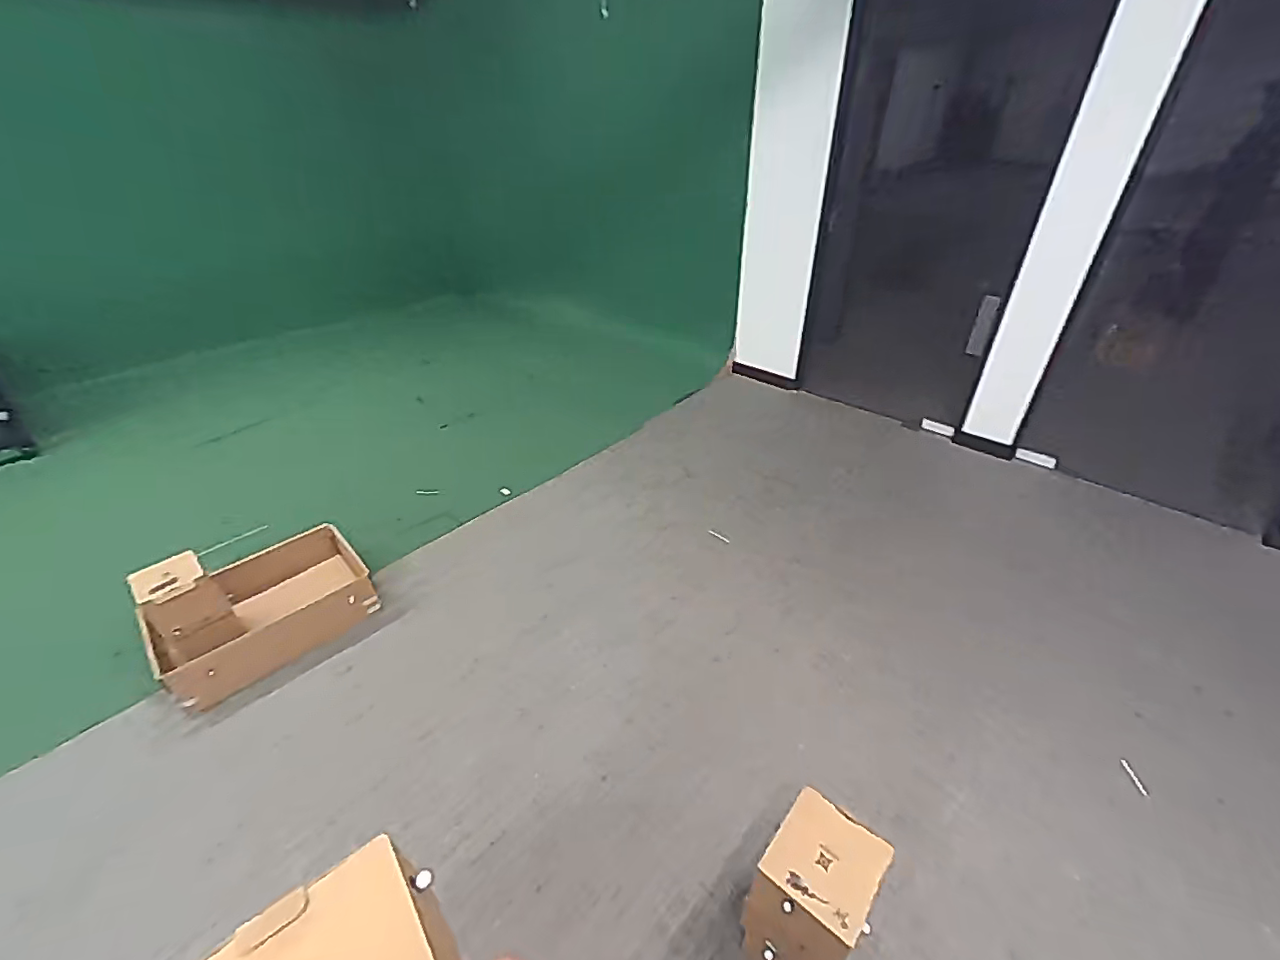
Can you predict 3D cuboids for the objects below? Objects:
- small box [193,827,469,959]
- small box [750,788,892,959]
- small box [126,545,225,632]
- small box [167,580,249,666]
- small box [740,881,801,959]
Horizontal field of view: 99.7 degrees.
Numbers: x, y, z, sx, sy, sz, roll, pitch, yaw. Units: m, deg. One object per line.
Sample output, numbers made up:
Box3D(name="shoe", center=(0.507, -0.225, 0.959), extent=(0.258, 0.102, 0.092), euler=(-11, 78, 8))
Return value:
Box3D(name="small box", center=(-0.208, 0.411, 0.392), extent=(0.168, 0.176, 0.179), euler=(-26, 44, -30))
Box3D(name="small box", center=(0.307, 0.697, 0.942), extent=(0.168, 0.176, 0.179), euler=(26, 42, 33))
Box3D(name="small box", center=(-1.411, 0.337, 1.651), extent=(0.179, 0.176, 0.168), euler=(29, 44, 35))
Box3D(name="small box", center=(-1.415, 0.464, 1.756), extent=(0.179, 0.176, 0.168), euler=(28, 44, 34))
Box3D(name="small box", center=(0.307, 0.826, 1.044), extent=(0.168, 0.176, 0.179), euler=(26, 44, 34))
